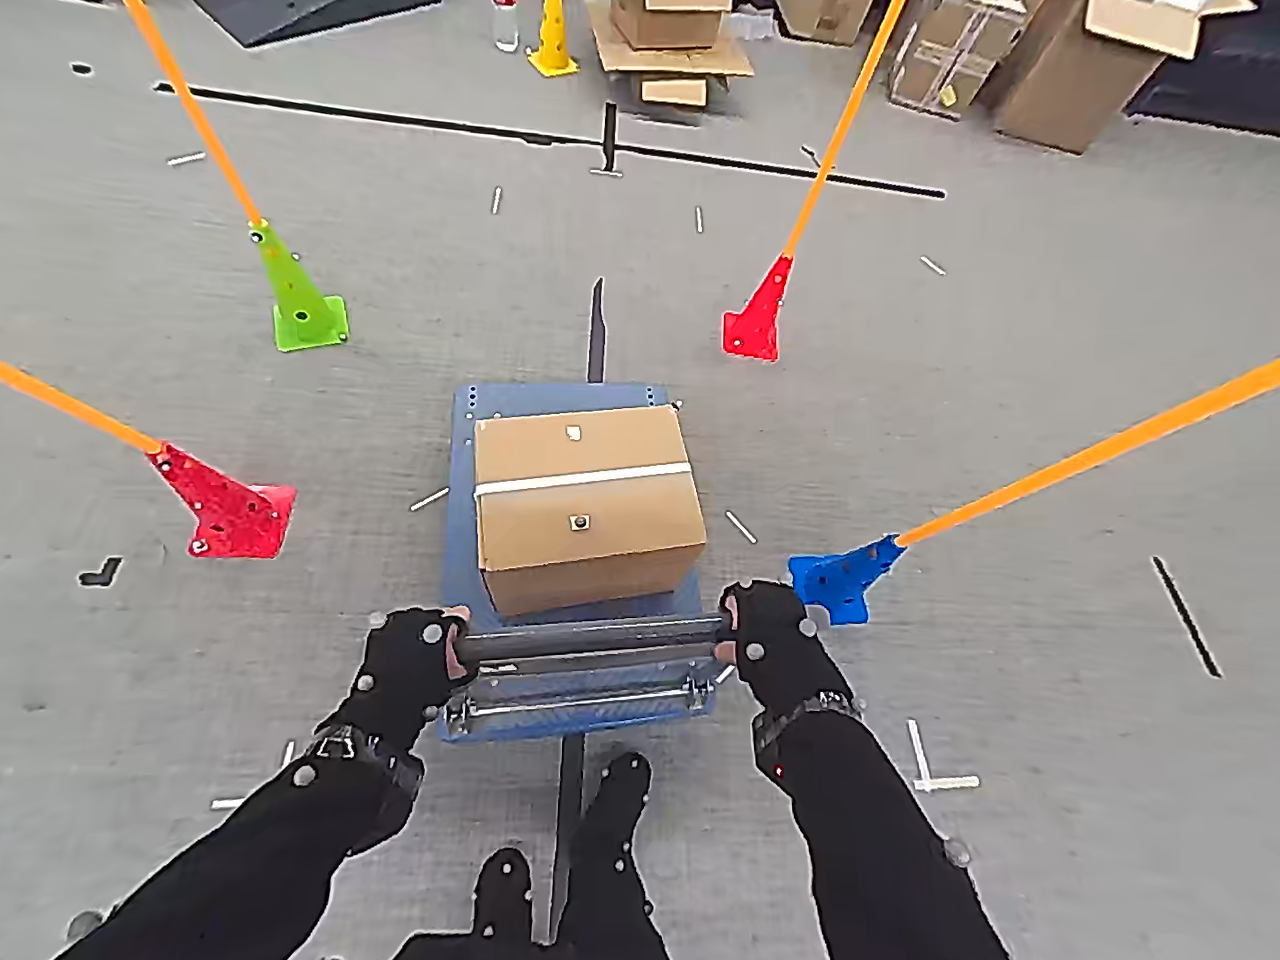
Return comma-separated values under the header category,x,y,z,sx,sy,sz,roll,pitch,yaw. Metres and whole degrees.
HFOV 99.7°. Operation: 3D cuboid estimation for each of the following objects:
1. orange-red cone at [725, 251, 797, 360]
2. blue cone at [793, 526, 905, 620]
category,x,y,z,sx,sy,sz,roll,pitch,yaw
orange-red cone,0.427,-0.593,1.766,0.199,0.360,0.198,10,62,-5
blue cone,0.556,0.218,1.372,0.193,0.380,0.192,0,61,-10
